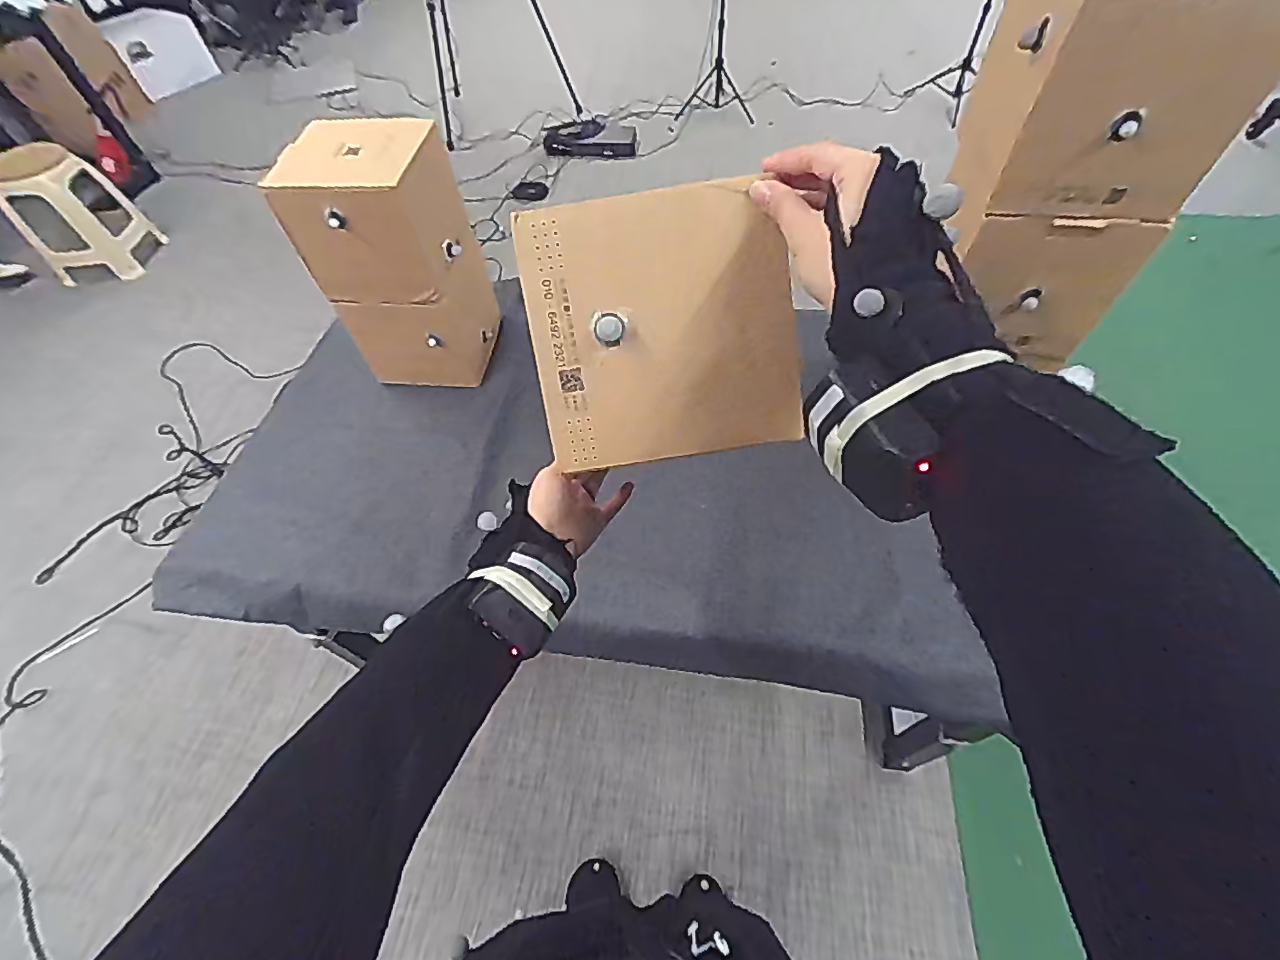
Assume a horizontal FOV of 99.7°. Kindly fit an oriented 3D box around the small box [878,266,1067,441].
[{"bbox_3d":[0.446,-0.180,0.763,0.168,0.176,0.179,7,57,9],"label":"small box"}]

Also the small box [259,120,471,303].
[{"bbox_3d":[-0.355,-0.361,0.738,0.179,0.176,0.168,3,57,4],"label":"small box"}]

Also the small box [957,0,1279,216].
[{"bbox_3d":[0.417,-0.363,0.490,0.168,0.176,0.179,6,56,8],"label":"small box"}]

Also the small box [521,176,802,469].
[{"bbox_3d":[0.014,-0.112,0.422,0.176,0.168,0.179,-8,13,3],"label":"small box"}]

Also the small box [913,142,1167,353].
[{"bbox_3d":[0.433,-0.269,0.626,0.168,0.176,0.179,8,58,9],"label":"small box"}]
